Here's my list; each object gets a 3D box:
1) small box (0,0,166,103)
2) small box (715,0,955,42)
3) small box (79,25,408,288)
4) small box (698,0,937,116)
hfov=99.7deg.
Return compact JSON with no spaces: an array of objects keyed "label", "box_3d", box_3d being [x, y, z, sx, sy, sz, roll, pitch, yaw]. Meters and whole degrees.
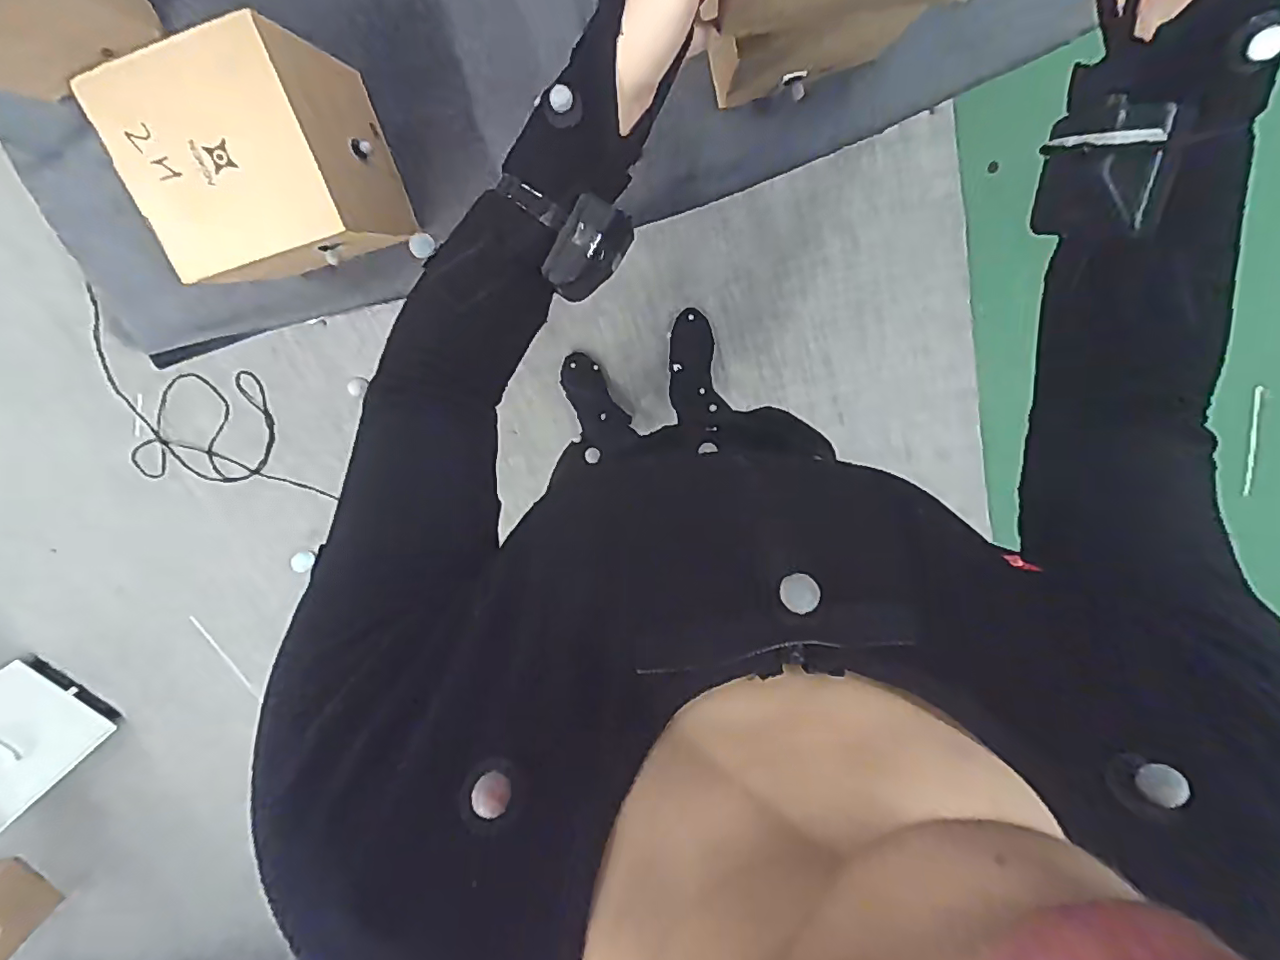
[{"label":"small box","box_3d":[-0.599,-0.479,0.478,0.168,0.176,0.179,-19,112,10]},{"label":"small box","box_3d":[0.130,-0.361,0.277,0.179,0.176,0.168,-4,114,6]},{"label":"small box","box_3d":[-0.359,-0.302,0.539,0.179,0.176,0.168,-13,112,8]},{"label":"small box","box_3d":[0.135,-0.445,0.452,0.168,0.176,0.179,-14,111,10]}]
